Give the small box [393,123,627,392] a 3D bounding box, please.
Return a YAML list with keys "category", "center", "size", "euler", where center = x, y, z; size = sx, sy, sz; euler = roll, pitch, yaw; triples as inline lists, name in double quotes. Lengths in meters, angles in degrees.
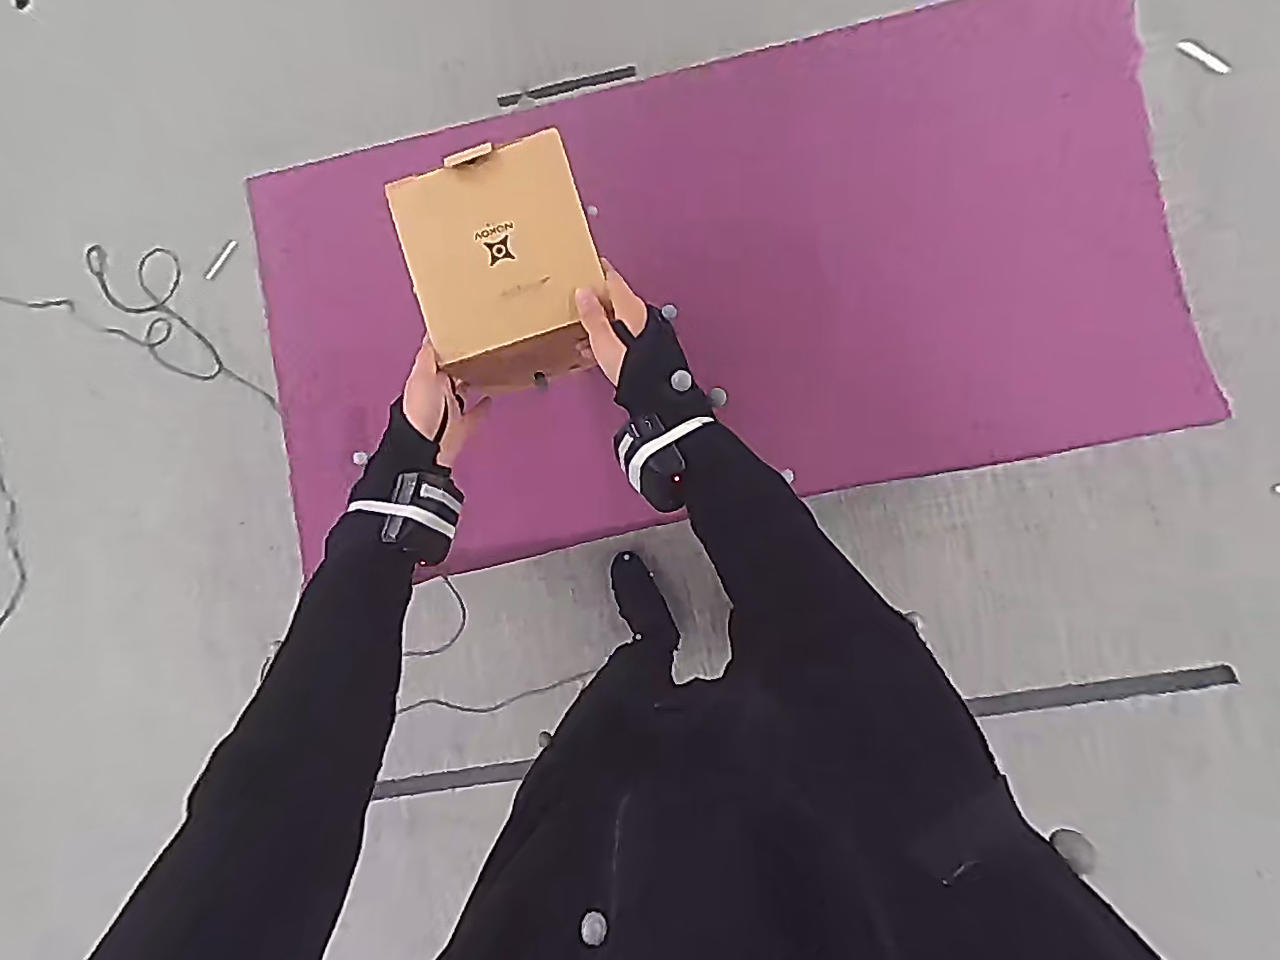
- category: "small box"
  center: [-0.115, -0.206, 0.549]
  size: [0.168, 0.176, 0.179]
  euler: [-17, 88, 2]
